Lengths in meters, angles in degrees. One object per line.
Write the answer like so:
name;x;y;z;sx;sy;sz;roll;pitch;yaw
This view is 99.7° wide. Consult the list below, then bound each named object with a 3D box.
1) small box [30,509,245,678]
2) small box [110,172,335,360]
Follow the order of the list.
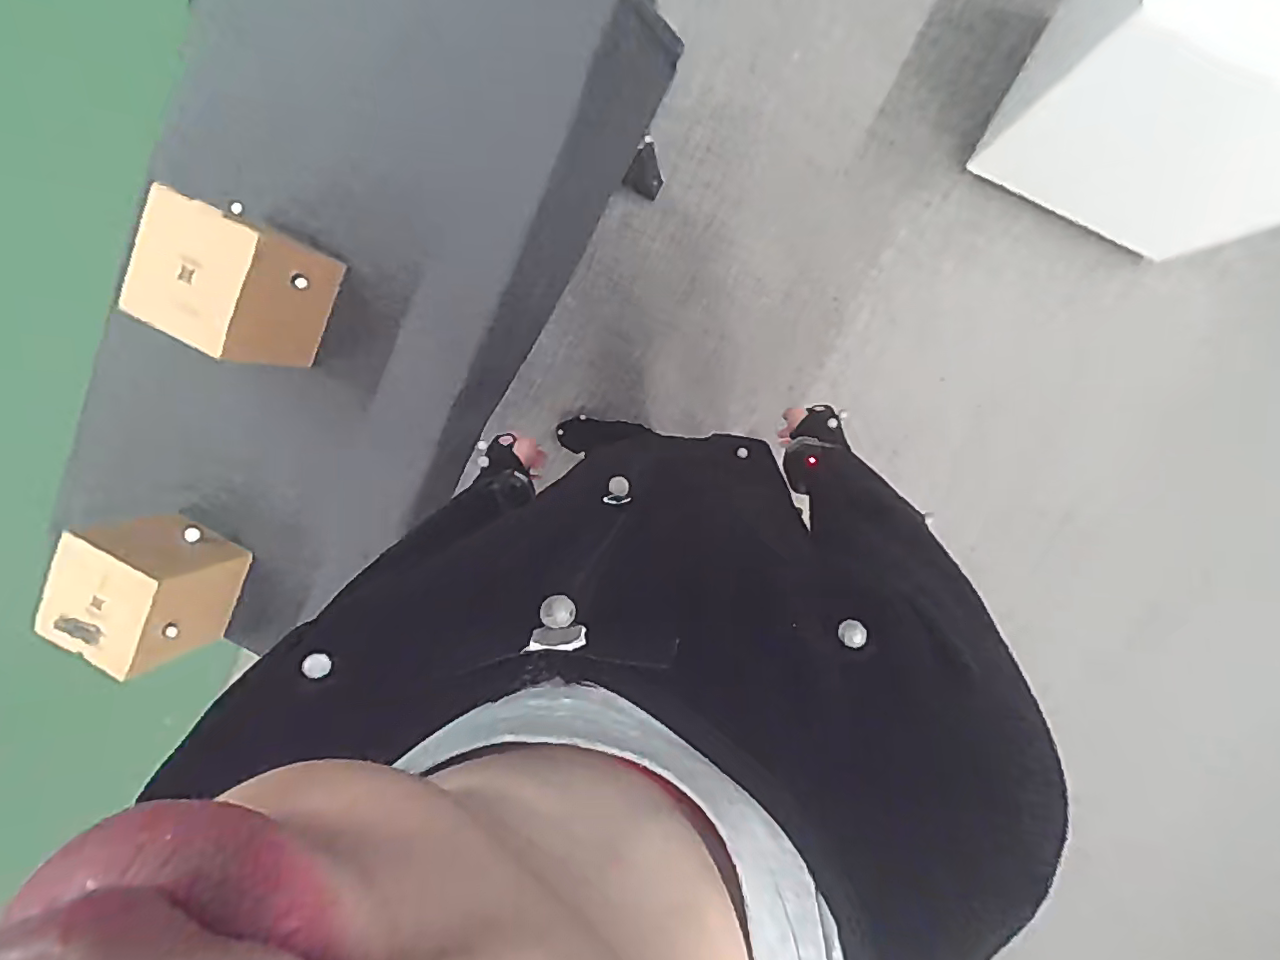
small box;-0.776;0.167;0.853;0.168;0.176;0.179;27;100;1
small box;-0.570;-0.284;0.760;0.168;0.176;0.179;26;102;3
